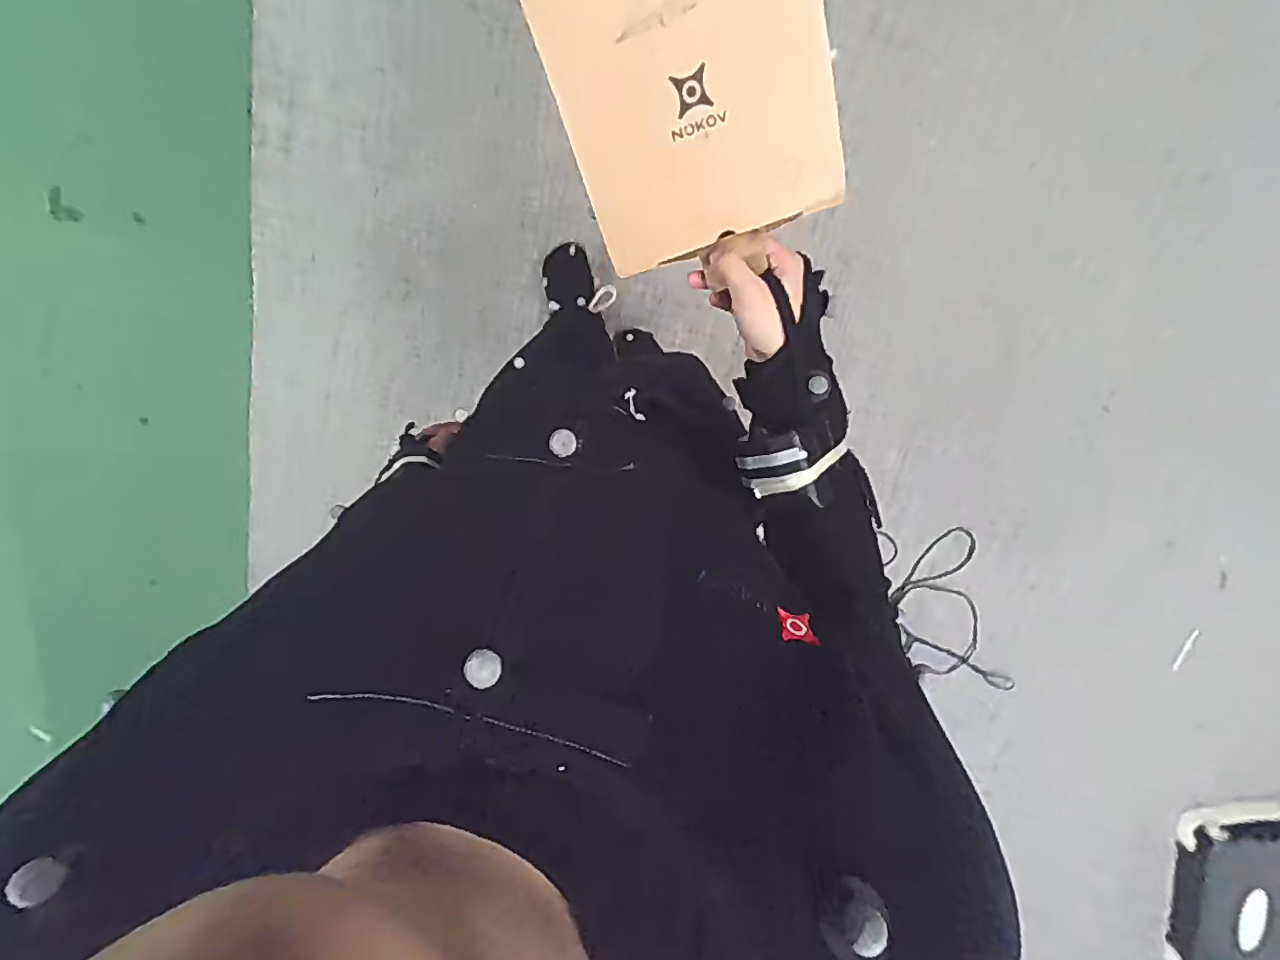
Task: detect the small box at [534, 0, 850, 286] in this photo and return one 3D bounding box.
[{"bbox_3d":[0.045,-0.273,0.408,0.168,0.176,0.179,-15,118,12],"label":"small box"}]
